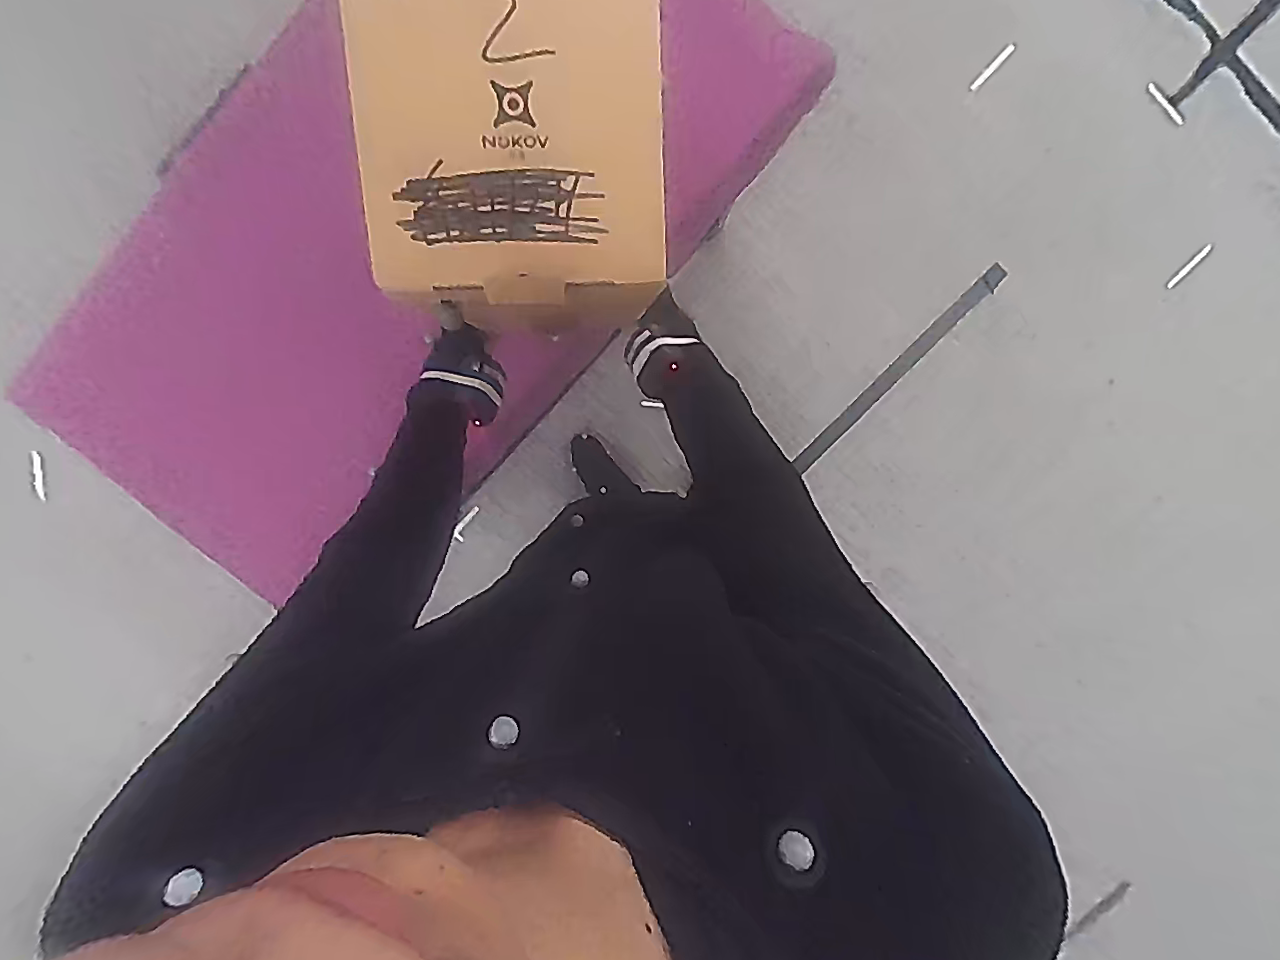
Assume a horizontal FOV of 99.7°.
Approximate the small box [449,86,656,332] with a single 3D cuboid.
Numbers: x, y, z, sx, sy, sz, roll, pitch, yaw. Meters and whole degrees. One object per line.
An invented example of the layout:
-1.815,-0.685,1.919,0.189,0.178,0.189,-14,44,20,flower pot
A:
-0.077,-0.244,0.528,0.168,0.176,0.179,-3,101,-5,small box
